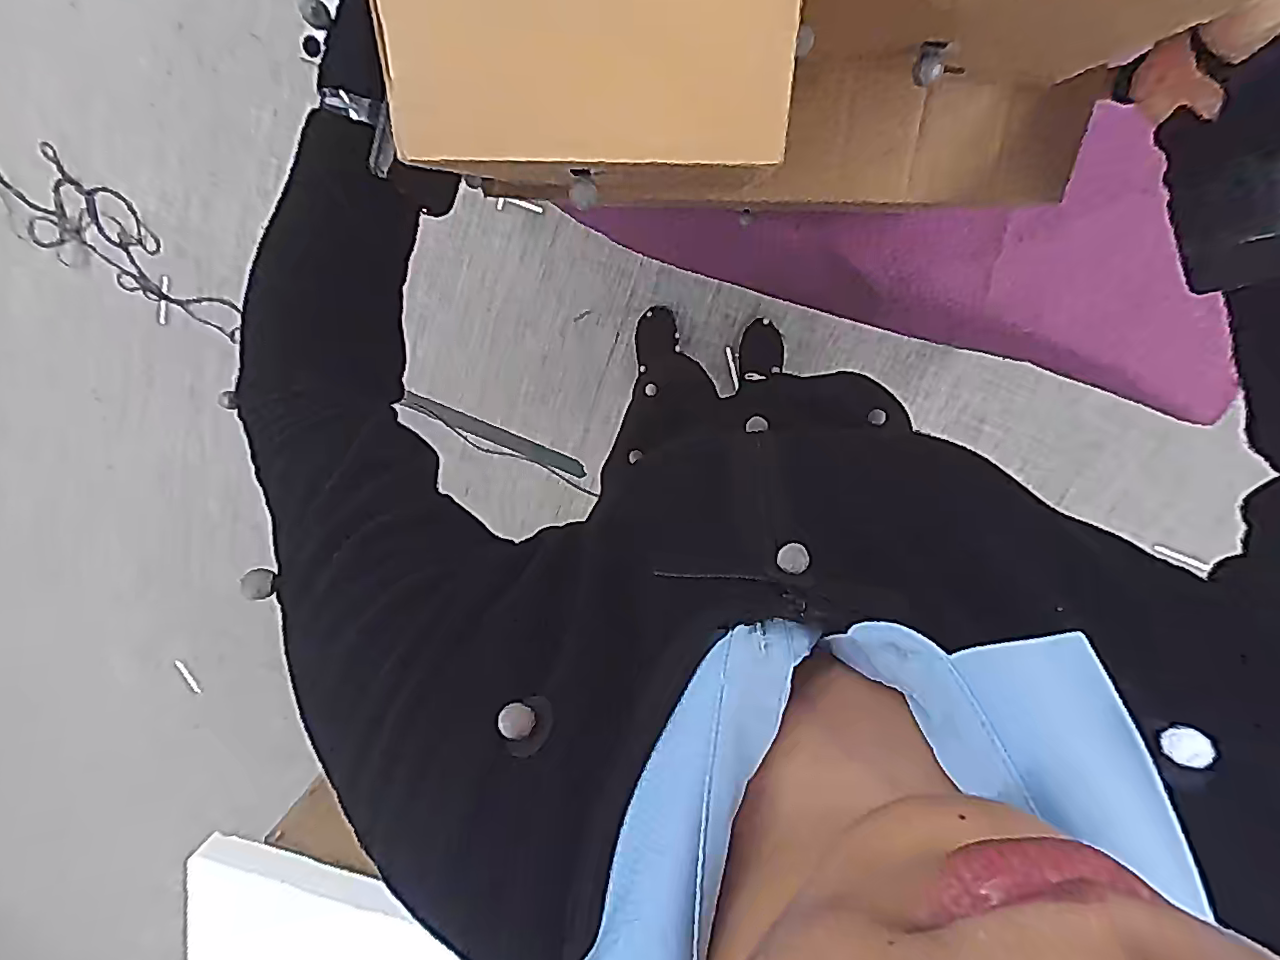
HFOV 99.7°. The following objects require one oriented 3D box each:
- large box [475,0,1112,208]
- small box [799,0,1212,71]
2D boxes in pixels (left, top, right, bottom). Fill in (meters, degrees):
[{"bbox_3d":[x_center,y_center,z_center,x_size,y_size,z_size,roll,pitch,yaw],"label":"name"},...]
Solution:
[{"bbox_3d":[0.110,-0.404,0.451,0.408,0.320,0.320,4,114,8],"label":"large box"},{"bbox_3d":[0.170,-0.299,0.216,0.168,0.176,0.179,11,117,4],"label":"small box"}]
